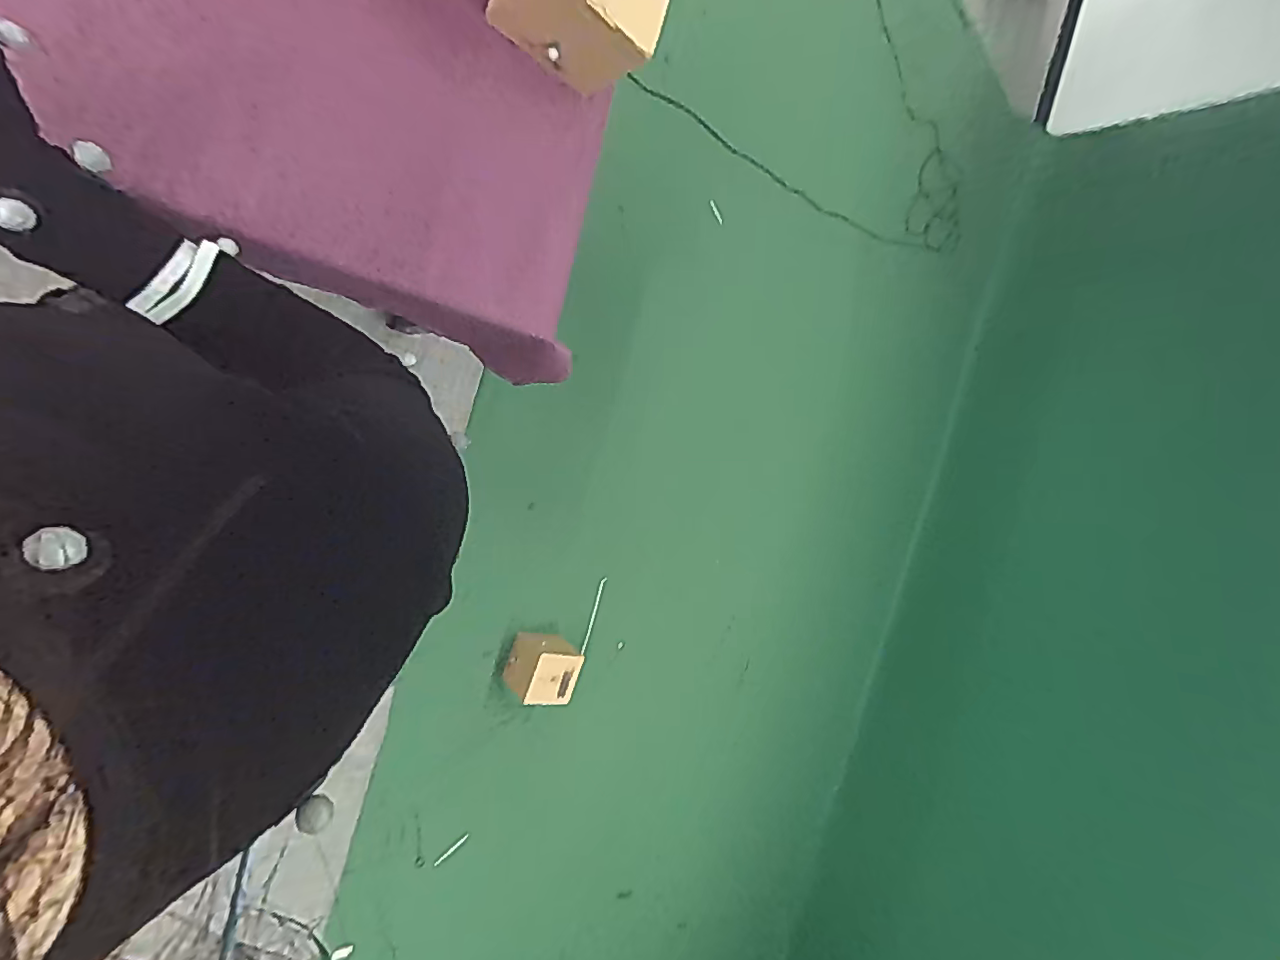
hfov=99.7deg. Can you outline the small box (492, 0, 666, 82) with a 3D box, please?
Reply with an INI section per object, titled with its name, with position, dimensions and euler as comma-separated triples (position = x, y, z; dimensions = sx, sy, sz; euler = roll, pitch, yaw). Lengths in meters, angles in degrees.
[small box]
position = -0.069, -0.662, 0.687
dimensions = 0.168, 0.176, 0.179
euler = 14, 96, -40
